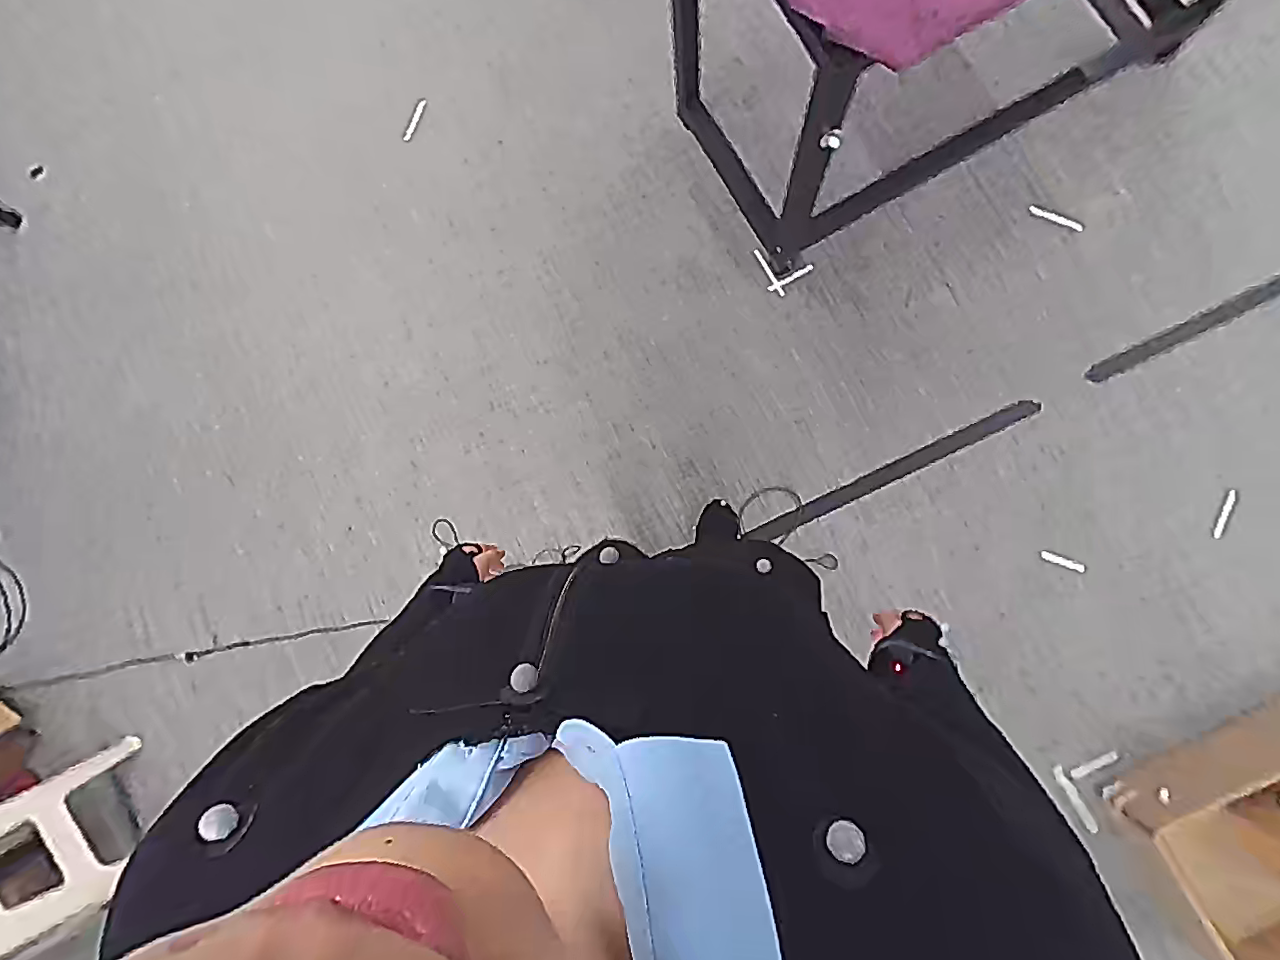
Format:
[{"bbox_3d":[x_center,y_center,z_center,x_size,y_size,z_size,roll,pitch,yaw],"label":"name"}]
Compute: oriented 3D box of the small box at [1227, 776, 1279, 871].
[{"bbox_3d":[1.458,0.774,1.165,0.168,0.176,0.179,-33,83,4],"label":"small box"}]
